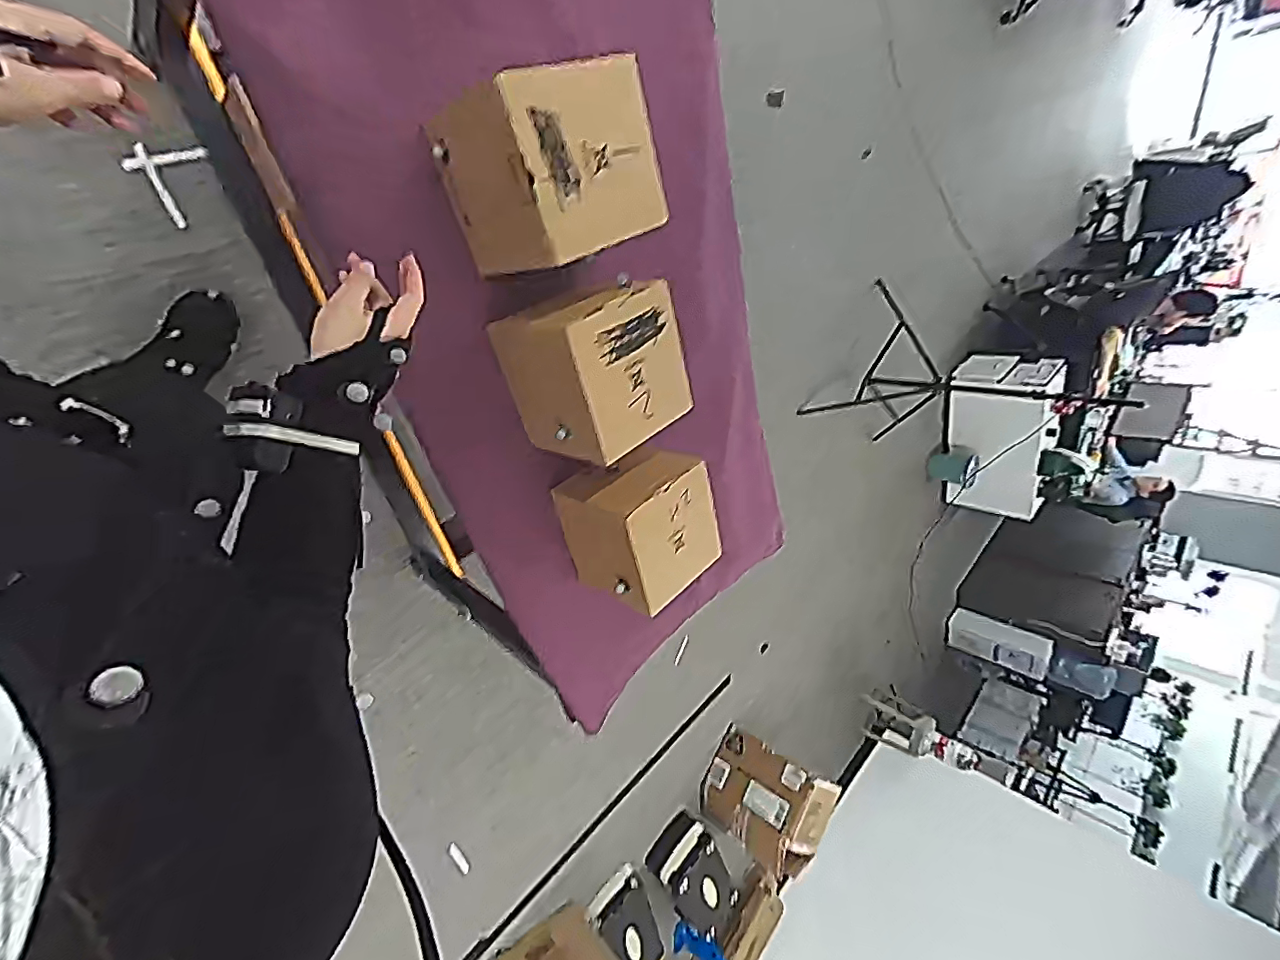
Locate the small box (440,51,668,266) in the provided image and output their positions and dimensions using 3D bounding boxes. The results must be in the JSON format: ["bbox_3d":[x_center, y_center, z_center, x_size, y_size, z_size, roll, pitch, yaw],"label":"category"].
[{"bbox_3d":[-0.100,-0.352,0.611,0.179,0.176,0.168,-37,126,-32],"label":"small box"}]
